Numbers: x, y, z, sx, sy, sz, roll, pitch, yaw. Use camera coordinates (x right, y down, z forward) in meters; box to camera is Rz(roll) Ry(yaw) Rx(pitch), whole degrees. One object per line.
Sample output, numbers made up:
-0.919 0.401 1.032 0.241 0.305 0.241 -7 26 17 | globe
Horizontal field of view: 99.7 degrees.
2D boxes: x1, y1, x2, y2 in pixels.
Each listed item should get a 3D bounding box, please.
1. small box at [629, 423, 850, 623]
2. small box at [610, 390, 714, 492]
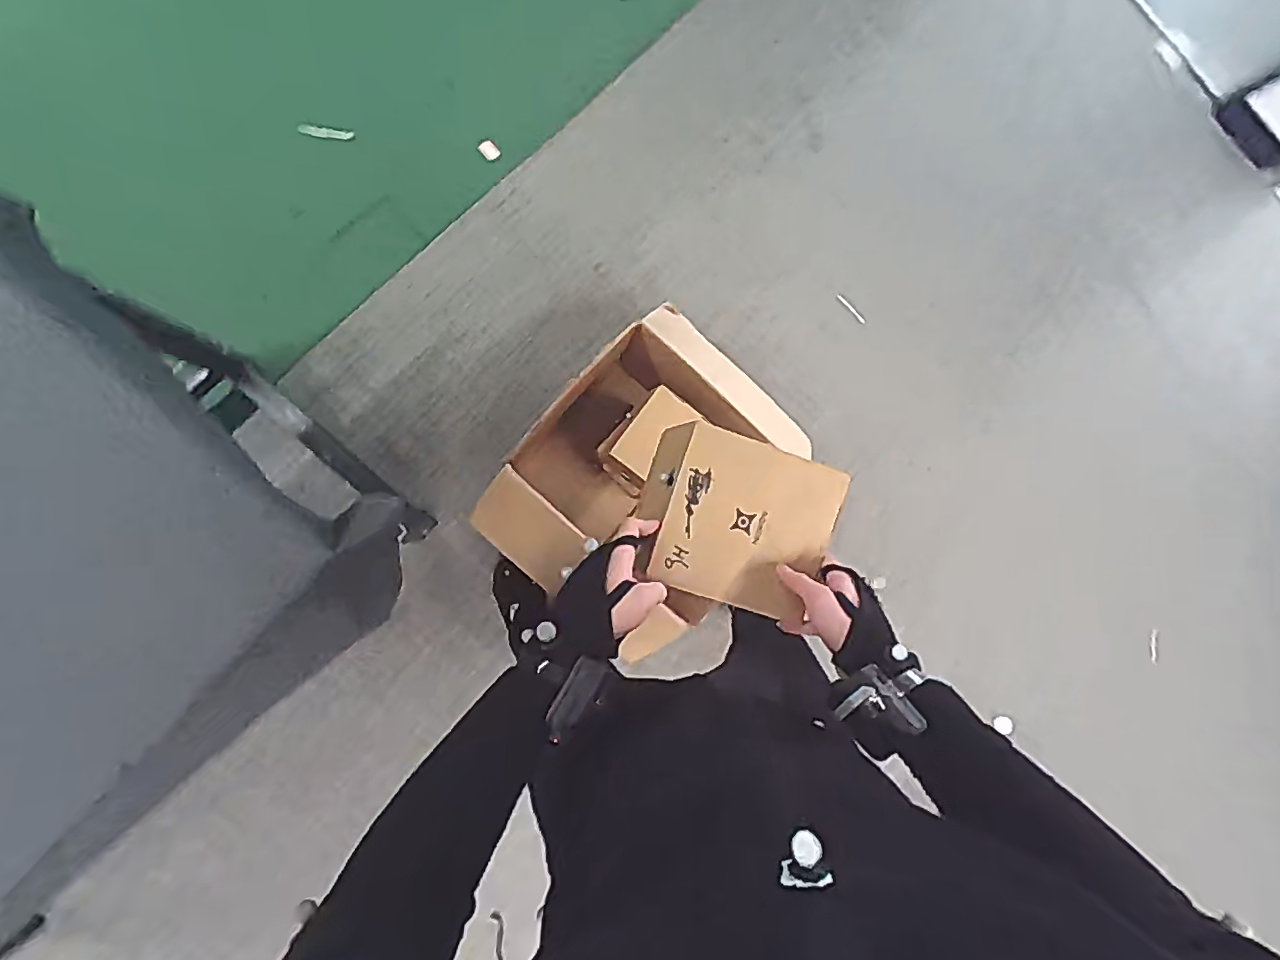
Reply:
0.101 0.043 0.626 0.179 0.176 0.168 19 88 -9 | small box
0.053 -0.061 1.130 0.168 0.176 0.179 38 83 -8 | small box
